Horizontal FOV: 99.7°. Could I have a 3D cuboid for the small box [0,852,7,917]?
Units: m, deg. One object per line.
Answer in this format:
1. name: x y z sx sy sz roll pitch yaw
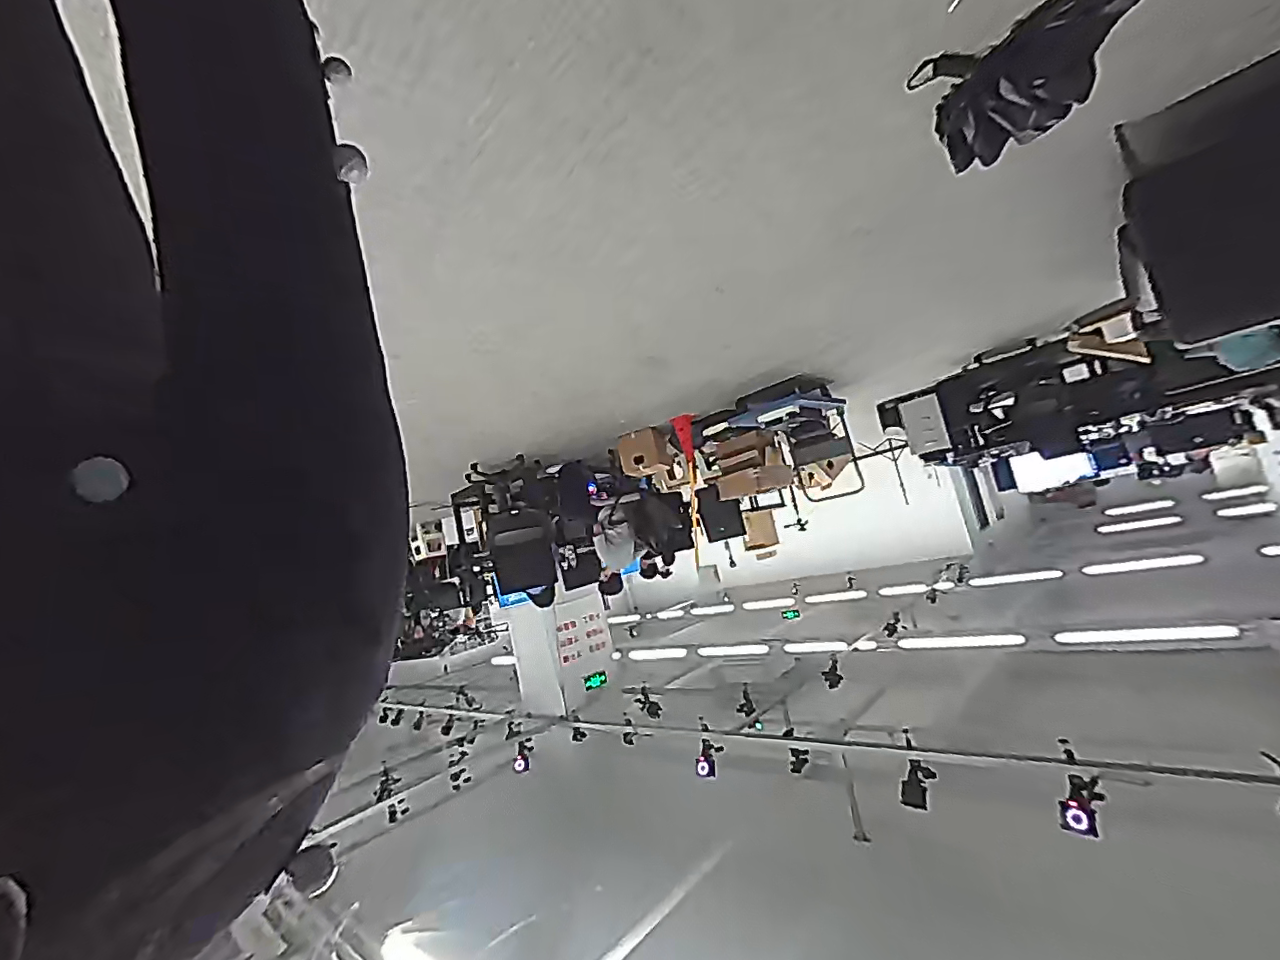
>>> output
1. small box: -2.131 1.313 1.703 0.179 0.176 0.168 -19 171 42
